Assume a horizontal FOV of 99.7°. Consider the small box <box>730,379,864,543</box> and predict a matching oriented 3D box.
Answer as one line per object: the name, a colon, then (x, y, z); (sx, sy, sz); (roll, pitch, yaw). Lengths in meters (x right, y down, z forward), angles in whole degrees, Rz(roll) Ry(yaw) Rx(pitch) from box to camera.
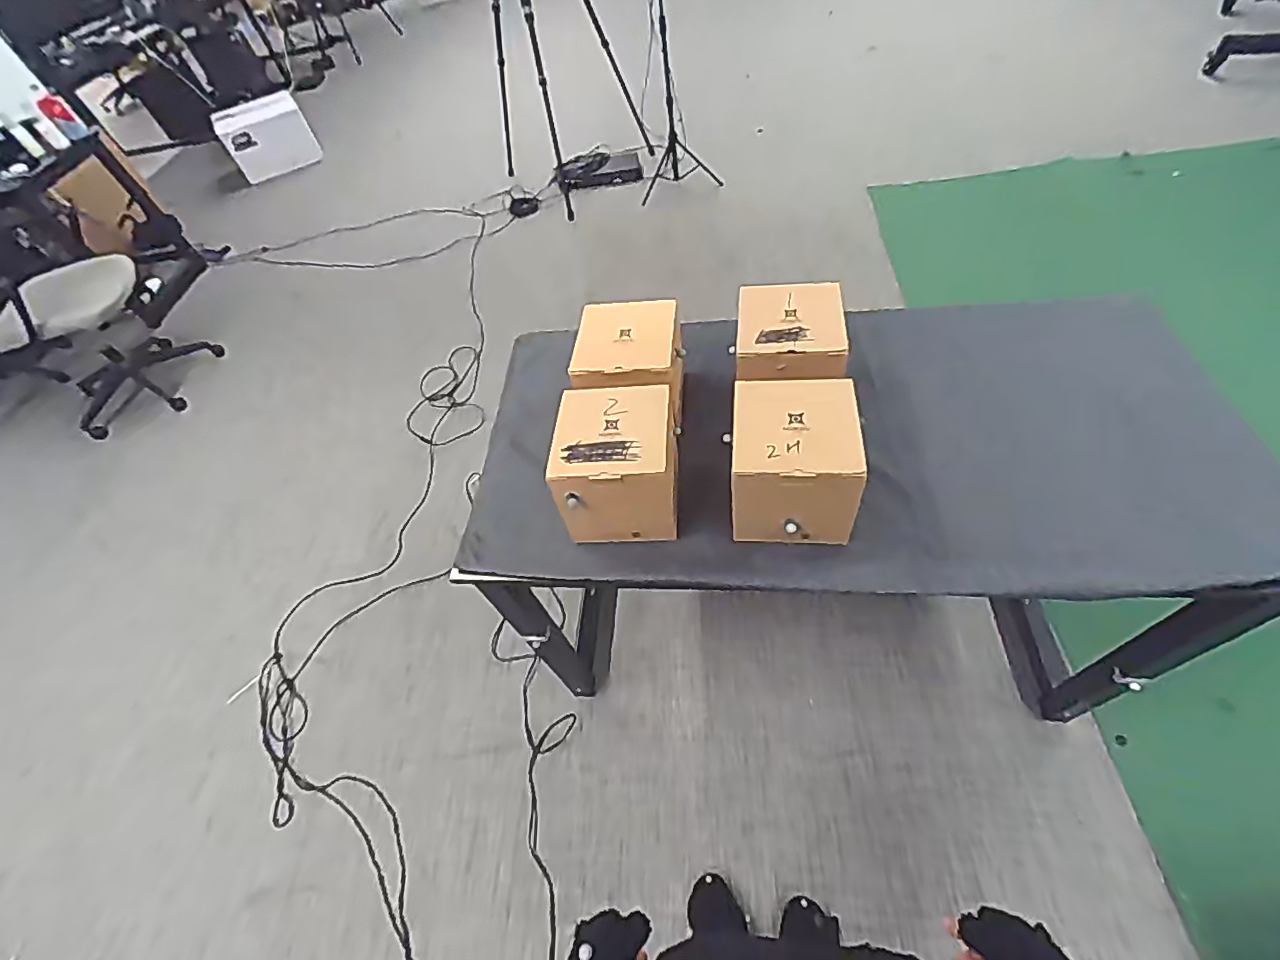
small box: (0.218, -0.028, 0.791); (0.168, 0.176, 0.179); (1, 53, 11)
